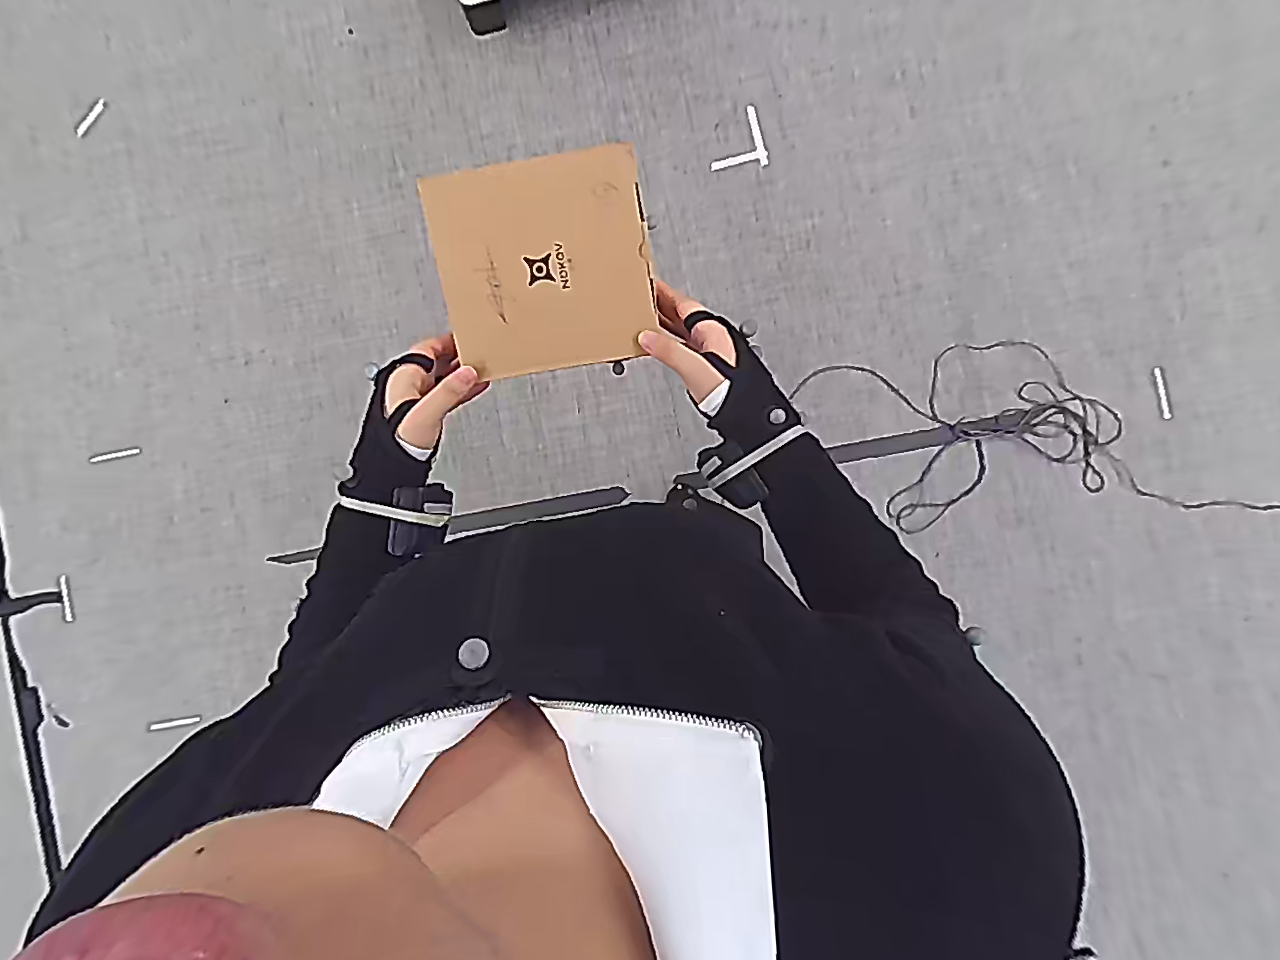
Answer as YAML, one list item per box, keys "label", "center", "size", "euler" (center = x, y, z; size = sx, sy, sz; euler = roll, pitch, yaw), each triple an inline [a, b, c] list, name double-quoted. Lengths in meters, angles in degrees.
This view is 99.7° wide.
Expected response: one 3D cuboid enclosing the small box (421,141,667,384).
- label: "small box"
  center: [-0.076, -0.192, 0.519]
  size: [0.179, 0.176, 0.168]
  euler: [-10, 102, 3]
